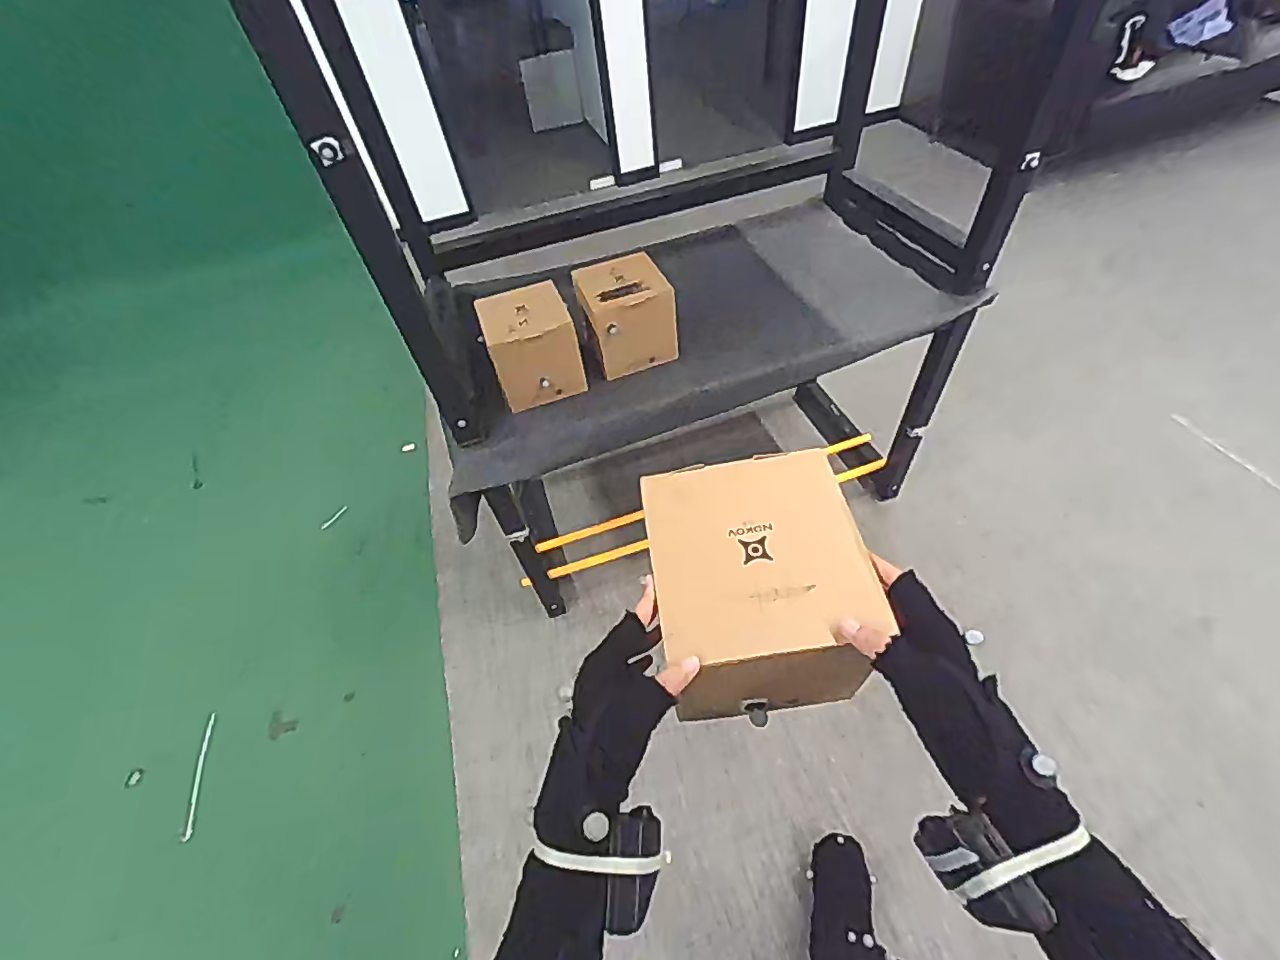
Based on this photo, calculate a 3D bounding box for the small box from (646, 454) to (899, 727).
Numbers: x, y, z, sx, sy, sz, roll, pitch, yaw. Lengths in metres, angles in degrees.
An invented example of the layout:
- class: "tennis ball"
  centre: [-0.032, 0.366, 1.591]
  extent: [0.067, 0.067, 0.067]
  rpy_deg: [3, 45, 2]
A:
- class: "small box"
  centre: [0.100, 0.104, 0.491]
  extent: [0.168, 0.176, 0.179]
  rpy_deg: [-9, 52, 1]

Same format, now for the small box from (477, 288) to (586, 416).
- class: "small box"
  centre: [-0.220, -0.260, 1.110]
  extent: [0.168, 0.176, 0.179]
  rpy_deg: [-19, 50, -9]
